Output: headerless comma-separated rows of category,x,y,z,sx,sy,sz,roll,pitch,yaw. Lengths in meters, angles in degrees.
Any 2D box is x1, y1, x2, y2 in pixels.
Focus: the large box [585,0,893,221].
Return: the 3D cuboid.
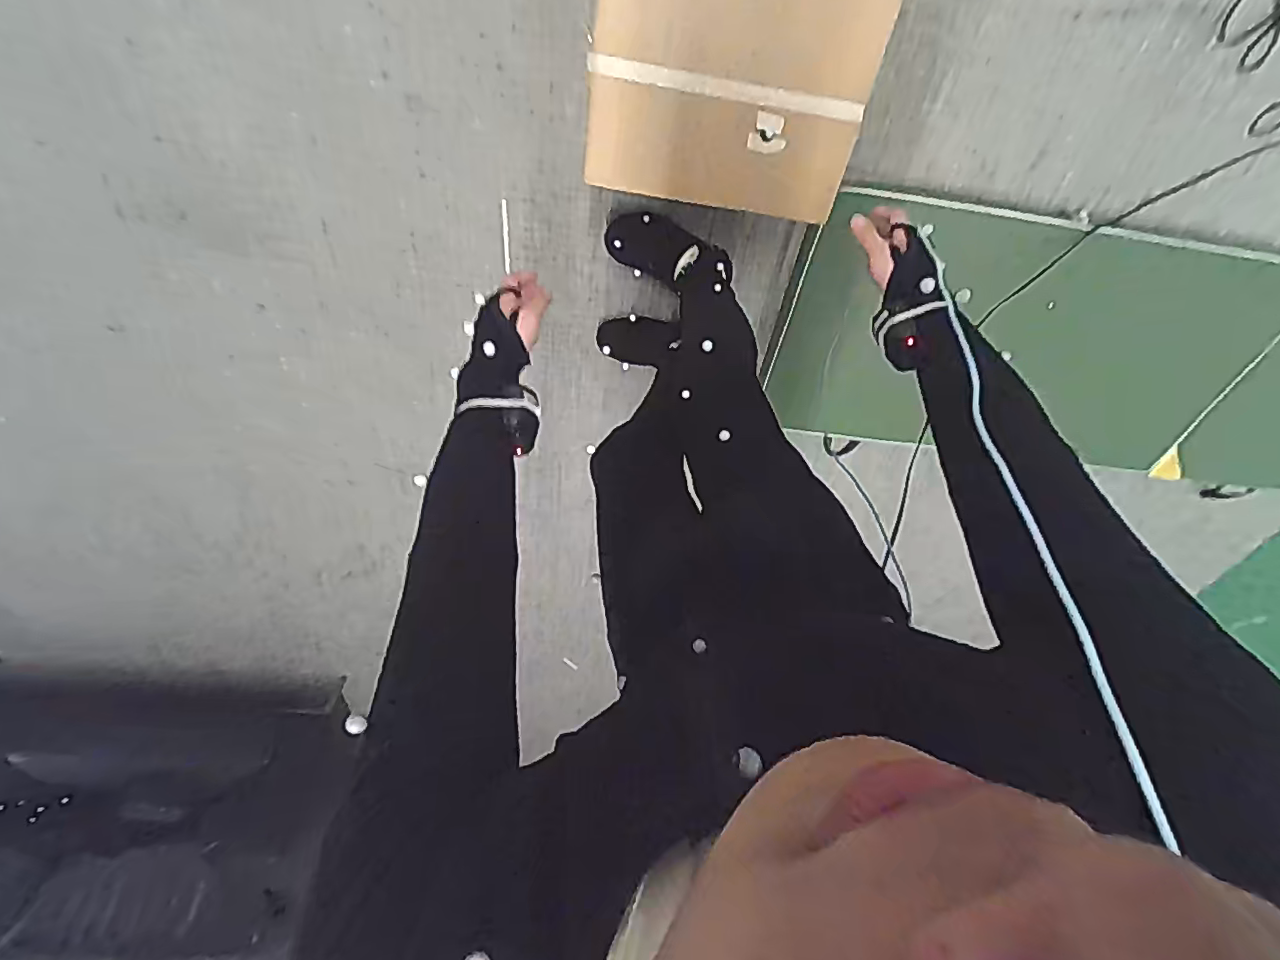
large box,0.121,-0.656,0.902,0.408,0.320,0.320,5,129,-7
